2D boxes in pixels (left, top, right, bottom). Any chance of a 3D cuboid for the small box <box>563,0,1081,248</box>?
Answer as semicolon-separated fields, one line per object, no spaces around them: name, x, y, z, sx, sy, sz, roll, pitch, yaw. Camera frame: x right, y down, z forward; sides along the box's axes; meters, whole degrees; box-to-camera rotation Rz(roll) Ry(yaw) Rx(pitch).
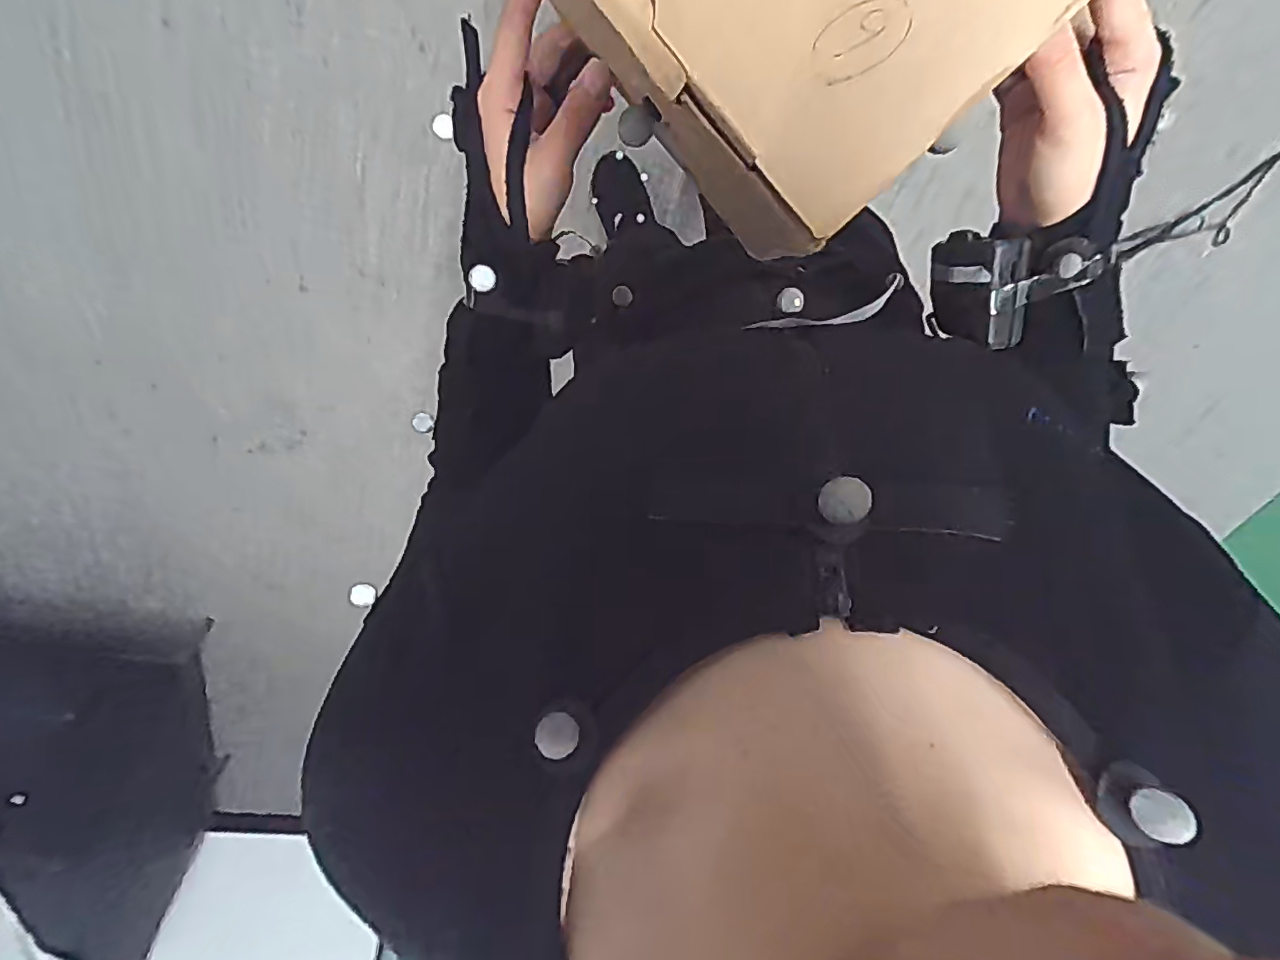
small box;0.067;-0.207;0.196;0.179;0.176;0.168;-40;102;20
